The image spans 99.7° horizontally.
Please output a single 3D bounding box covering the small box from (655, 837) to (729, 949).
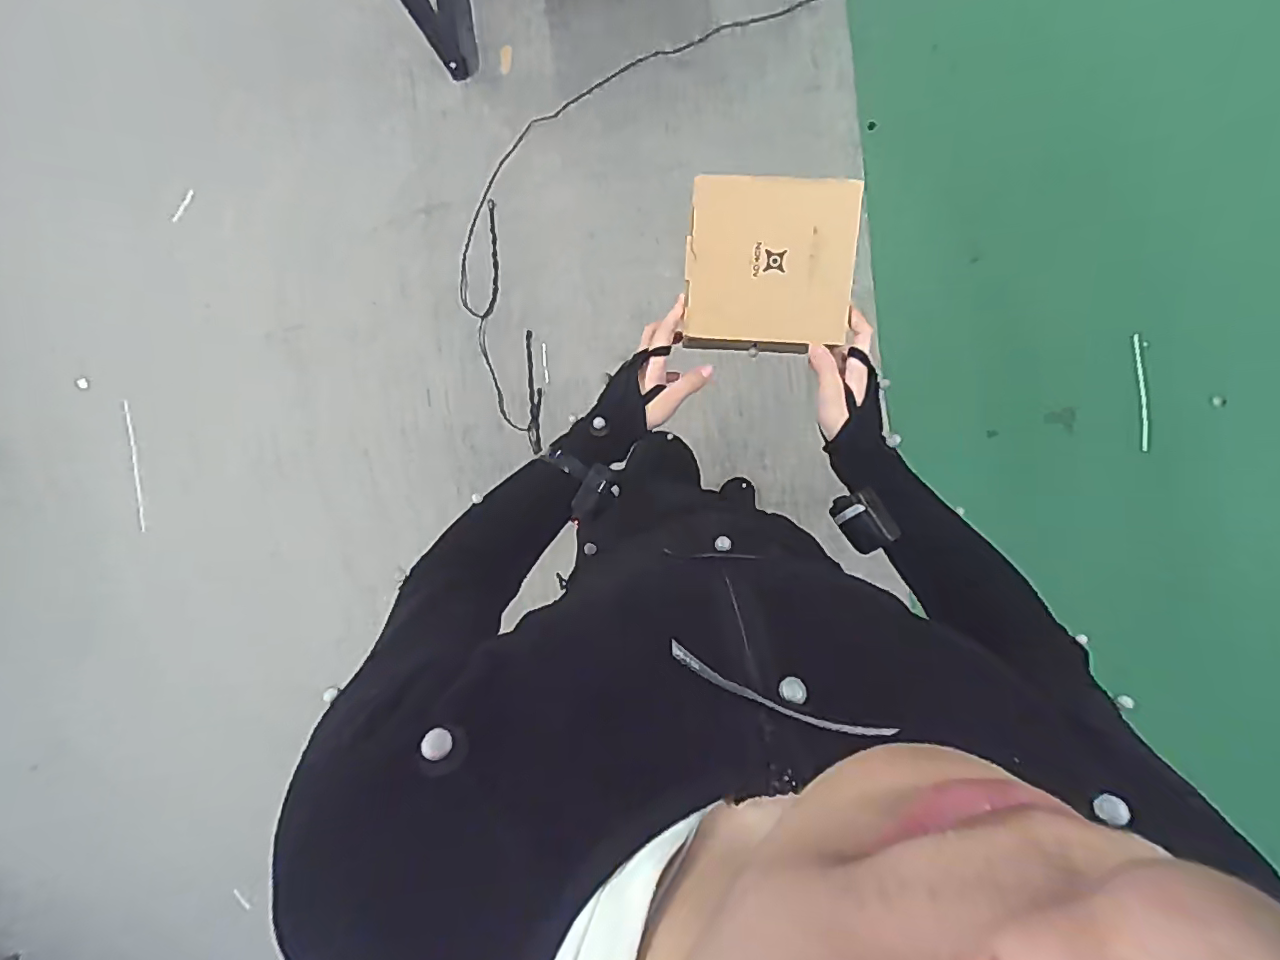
[{"bbox_3d":[0.137,1.063,1.407,0.168,0.176,0.179,-8,91,9],"label":"small box"}]

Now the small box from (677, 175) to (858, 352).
[{"bbox_3d":[0.138,-0.245,0.648,0.179,0.176,0.168,4,100,3],"label":"small box"}]
